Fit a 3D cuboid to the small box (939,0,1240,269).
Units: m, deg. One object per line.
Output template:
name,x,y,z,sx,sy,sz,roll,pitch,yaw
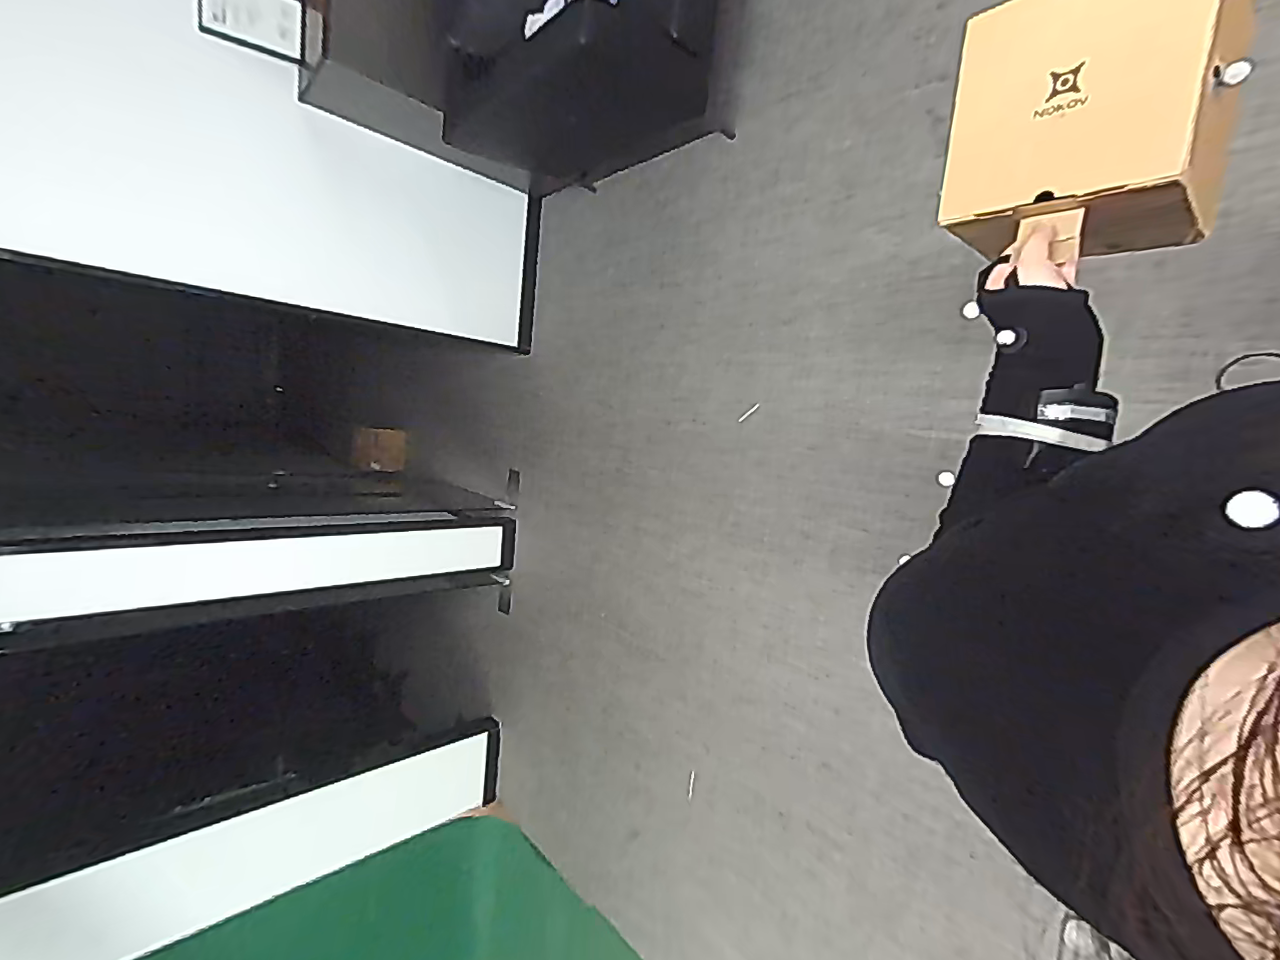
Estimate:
small box,0.399,-0.307,0.485,0.168,0.176,0.179,14,102,48
